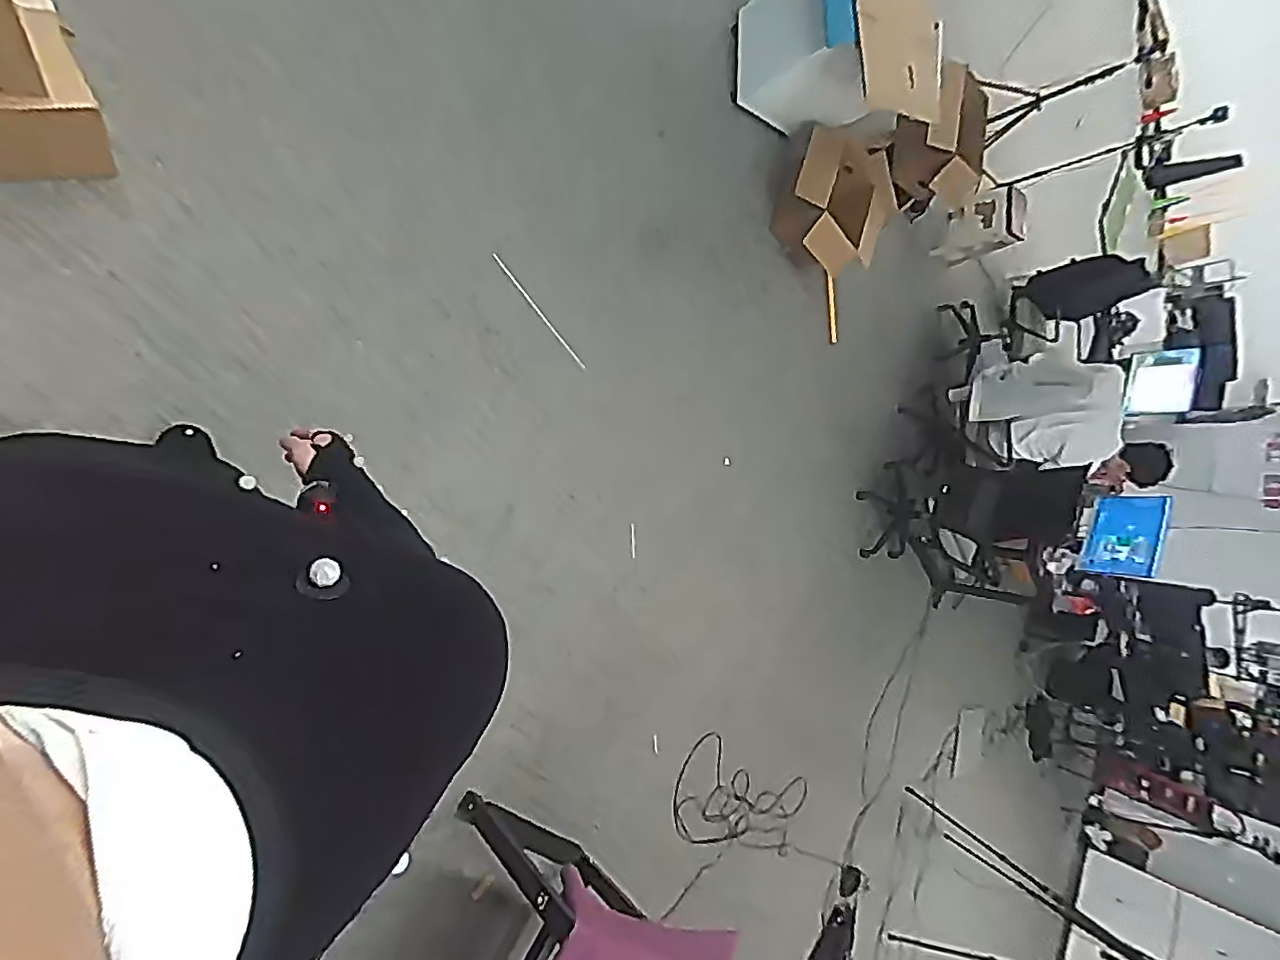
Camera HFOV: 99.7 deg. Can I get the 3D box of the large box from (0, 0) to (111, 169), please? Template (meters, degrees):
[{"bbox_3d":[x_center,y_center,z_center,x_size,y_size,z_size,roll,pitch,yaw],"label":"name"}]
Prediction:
[{"bbox_3d":[-1.237,-0.734,0.904,0.408,0.320,0.320,-30,111,-34],"label":"large box"}]

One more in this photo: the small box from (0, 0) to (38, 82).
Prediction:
[{"bbox_3d":[-1.020,-0.704,0.768,0.168,0.176,0.179,-26,110,-36],"label":"small box"}]
